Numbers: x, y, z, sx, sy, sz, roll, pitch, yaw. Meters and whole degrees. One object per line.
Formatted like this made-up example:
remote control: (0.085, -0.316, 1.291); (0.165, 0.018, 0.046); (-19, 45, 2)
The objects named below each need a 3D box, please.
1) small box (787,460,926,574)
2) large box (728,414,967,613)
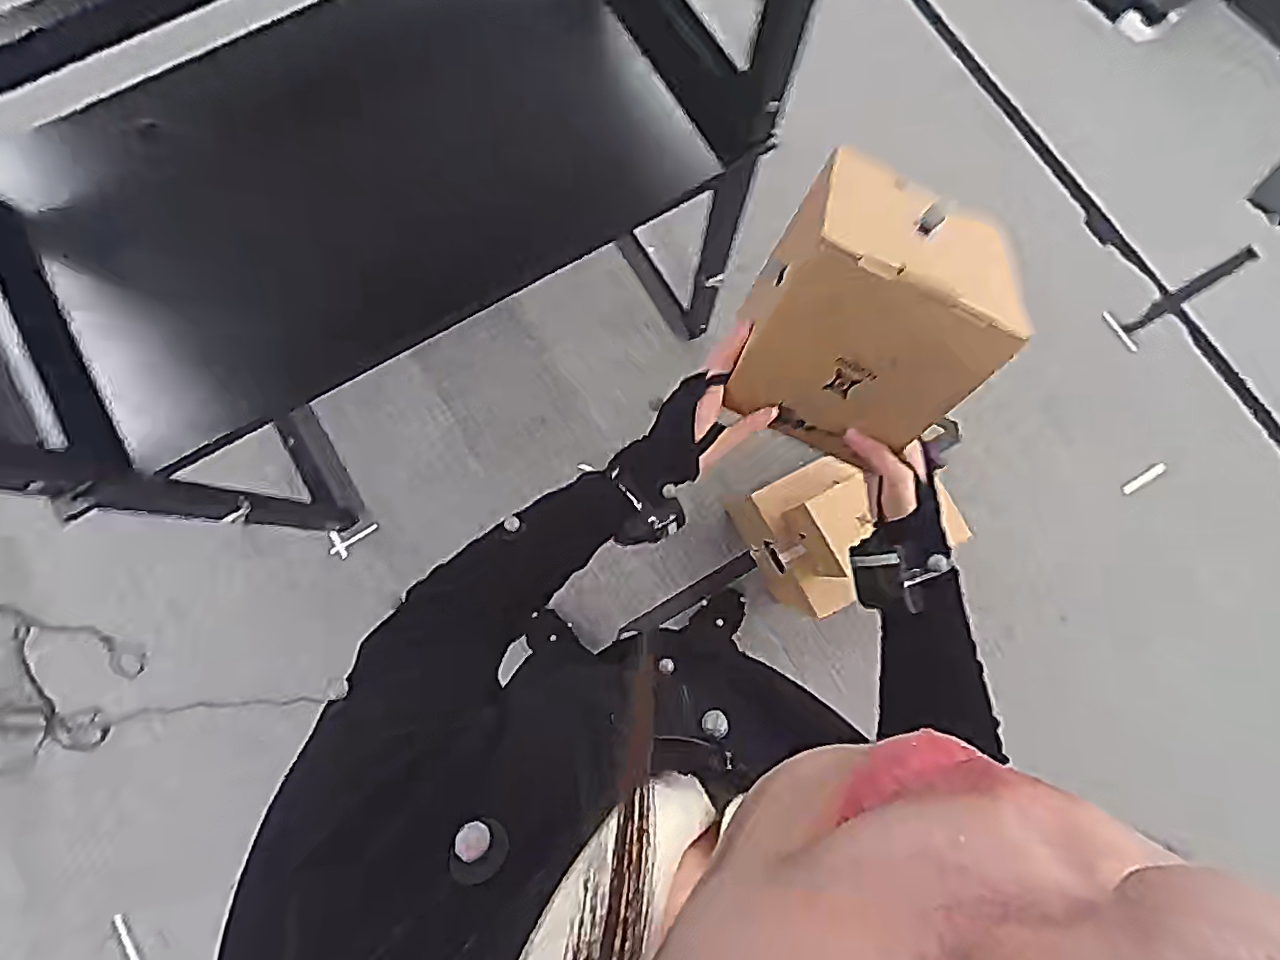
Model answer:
small box: (0.433, 0.080, 1.111); (0.179, 0.176, 0.168); (-27, 81, -5)
large box: (0.489, 0.092, 1.358); (0.408, 0.320, 0.320); (-27, 84, -6)
